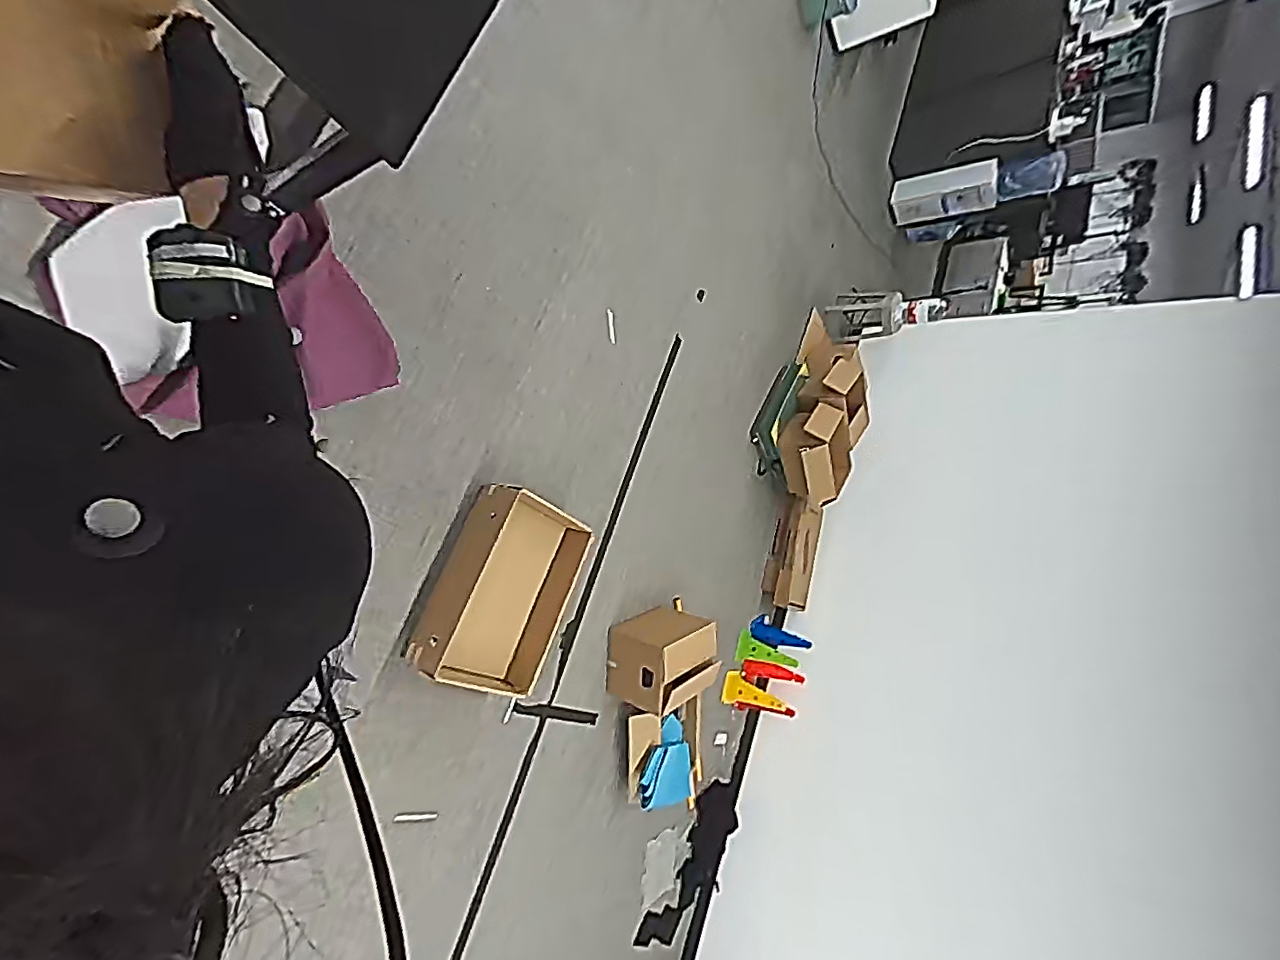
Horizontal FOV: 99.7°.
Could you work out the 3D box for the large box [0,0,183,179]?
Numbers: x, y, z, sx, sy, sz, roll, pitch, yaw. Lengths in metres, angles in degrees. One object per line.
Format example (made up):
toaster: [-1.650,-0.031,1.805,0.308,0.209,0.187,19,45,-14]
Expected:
large box: [-0.608,-0.396,0.334,0.408,0.320,0.320,-19,123,-48]
